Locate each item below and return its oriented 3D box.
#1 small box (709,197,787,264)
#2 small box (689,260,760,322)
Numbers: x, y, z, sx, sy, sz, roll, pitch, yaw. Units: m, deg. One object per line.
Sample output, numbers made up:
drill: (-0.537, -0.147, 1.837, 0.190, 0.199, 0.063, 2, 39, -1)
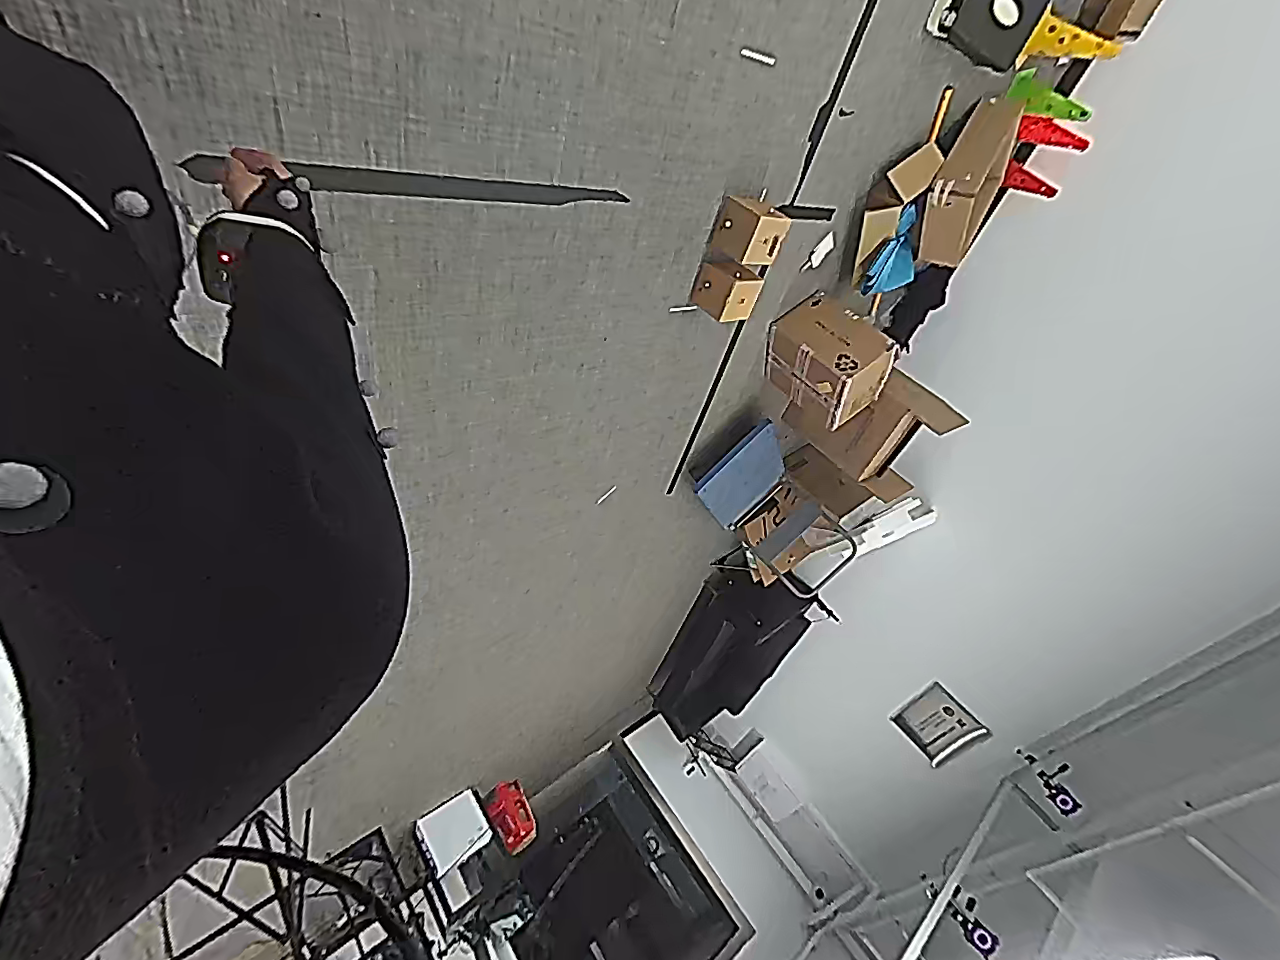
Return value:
small box: (0.379, -0.888, 1.923, 0.179, 0.176, 0.168, -17, 143, -39)
small box: (0.320, -0.730, 2.076, 0.179, 0.176, 0.168, -19, 145, -37)
